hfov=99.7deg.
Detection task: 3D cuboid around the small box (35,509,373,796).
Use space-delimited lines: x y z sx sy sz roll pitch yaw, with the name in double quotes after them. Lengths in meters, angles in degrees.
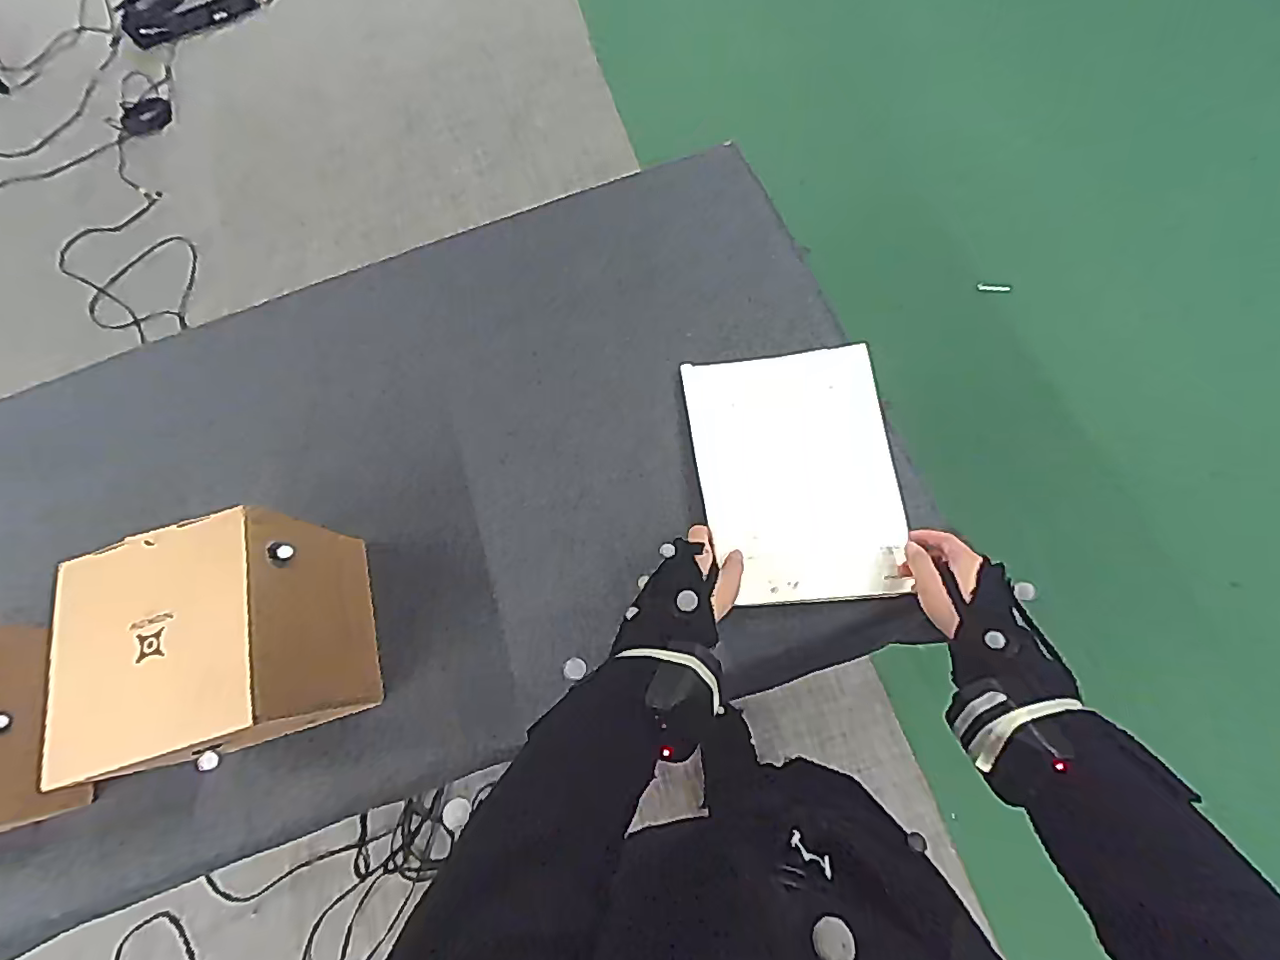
-0.364 0.147 0.484 0.168 0.176 0.179 -18 70 1 "small box"
